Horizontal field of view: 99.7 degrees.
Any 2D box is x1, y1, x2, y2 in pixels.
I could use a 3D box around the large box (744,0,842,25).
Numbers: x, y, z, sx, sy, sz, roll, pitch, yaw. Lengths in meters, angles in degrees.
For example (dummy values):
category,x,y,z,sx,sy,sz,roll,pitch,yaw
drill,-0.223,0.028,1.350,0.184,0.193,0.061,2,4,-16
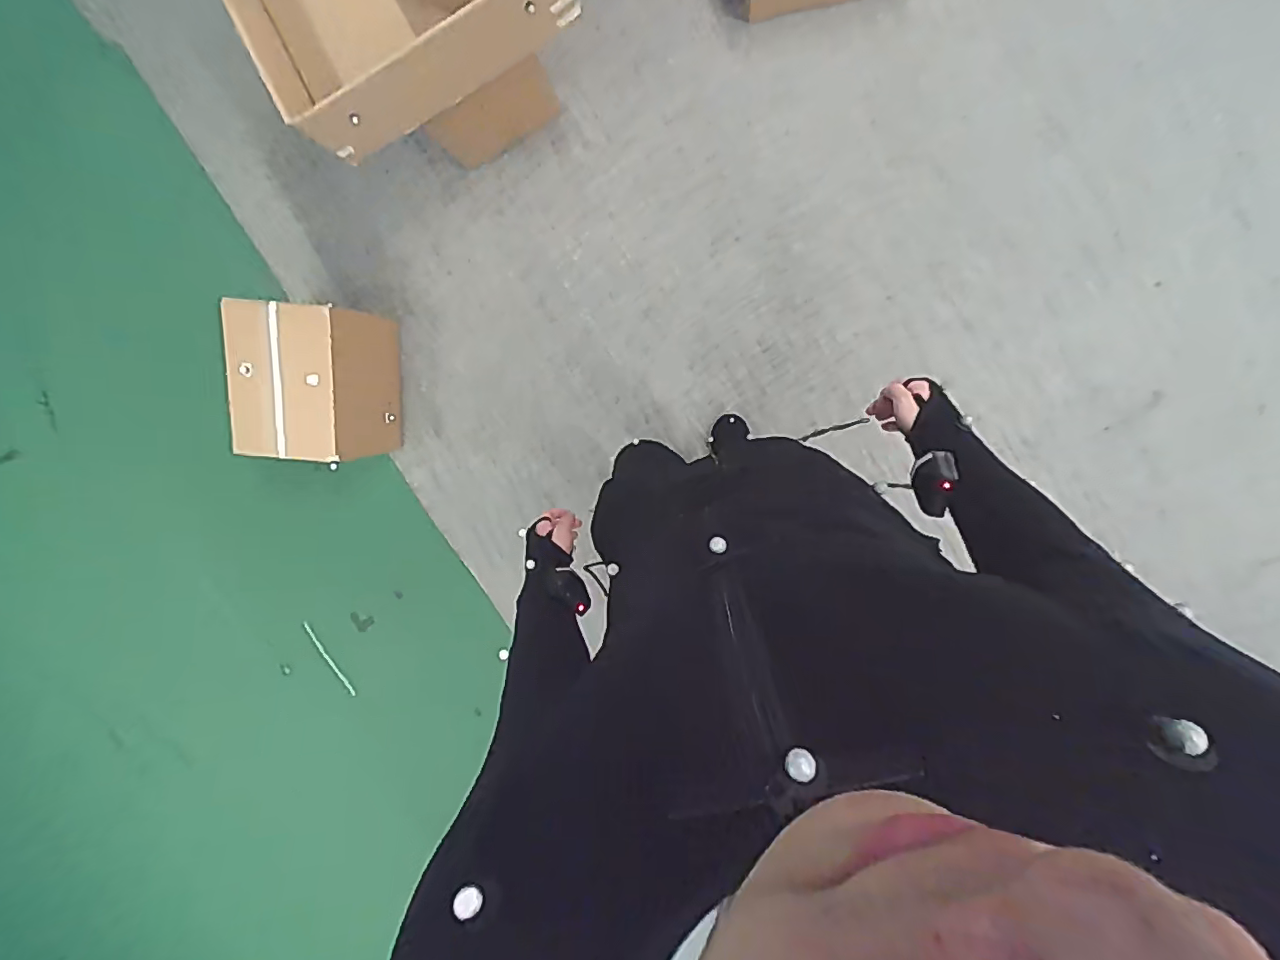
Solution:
category,x,y,z,sx,sy,sz,roll,pitch,yaw
large box,0.426,-1.311,1.191,0.408,0.320,0.320,-7,99,10
